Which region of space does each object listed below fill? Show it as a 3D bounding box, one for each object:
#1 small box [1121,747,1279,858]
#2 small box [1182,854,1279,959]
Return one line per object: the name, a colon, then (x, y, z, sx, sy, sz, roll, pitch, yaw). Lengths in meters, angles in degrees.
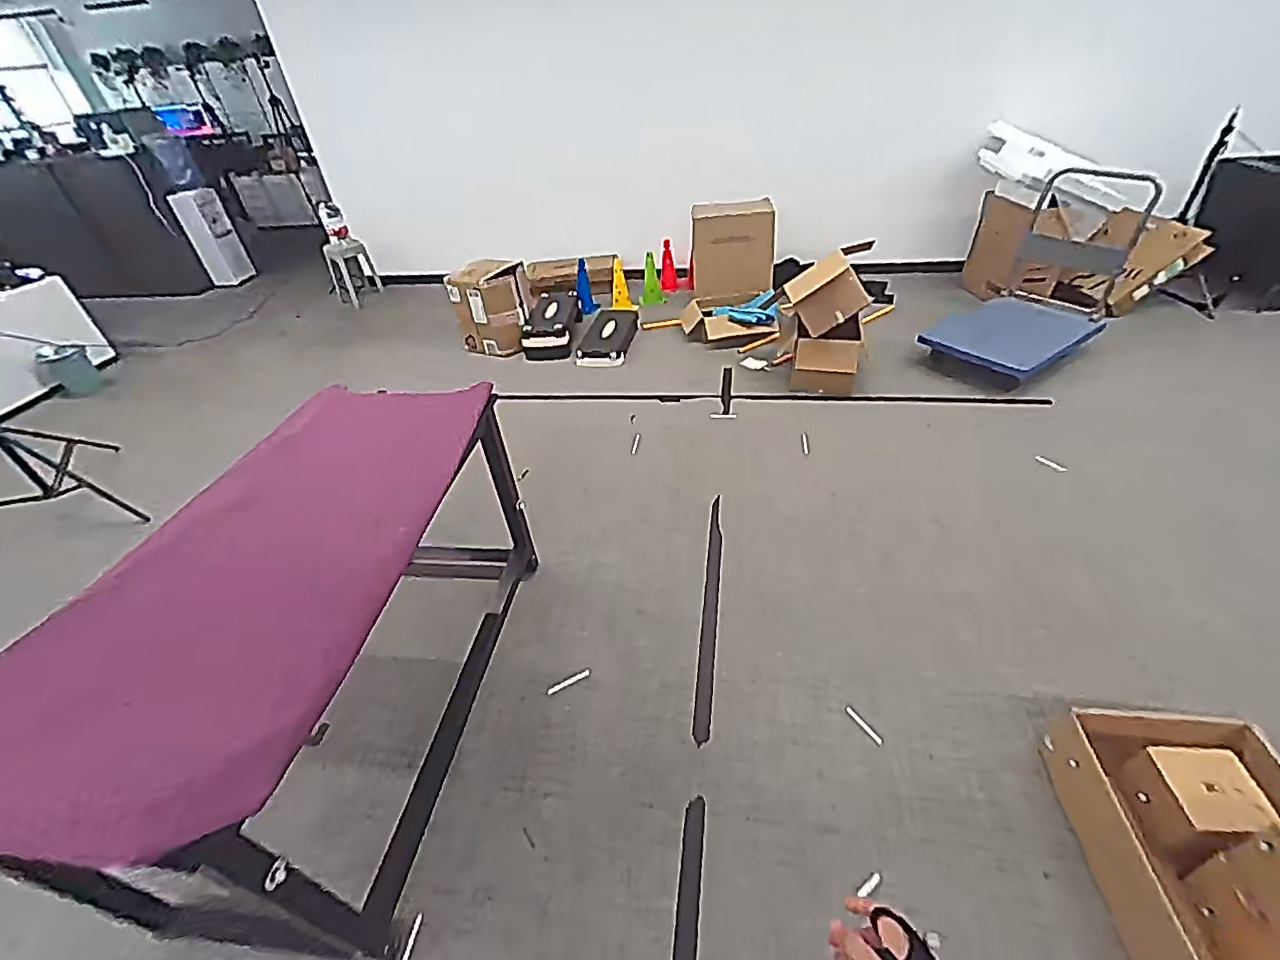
small box: (1.219, 0.712, 1.191, 0.179, 0.176, 0.168, 0, 42, 7)
small box: (1.211, 0.851, 1.025, 0.179, 0.176, 0.168, 3, 37, 12)
